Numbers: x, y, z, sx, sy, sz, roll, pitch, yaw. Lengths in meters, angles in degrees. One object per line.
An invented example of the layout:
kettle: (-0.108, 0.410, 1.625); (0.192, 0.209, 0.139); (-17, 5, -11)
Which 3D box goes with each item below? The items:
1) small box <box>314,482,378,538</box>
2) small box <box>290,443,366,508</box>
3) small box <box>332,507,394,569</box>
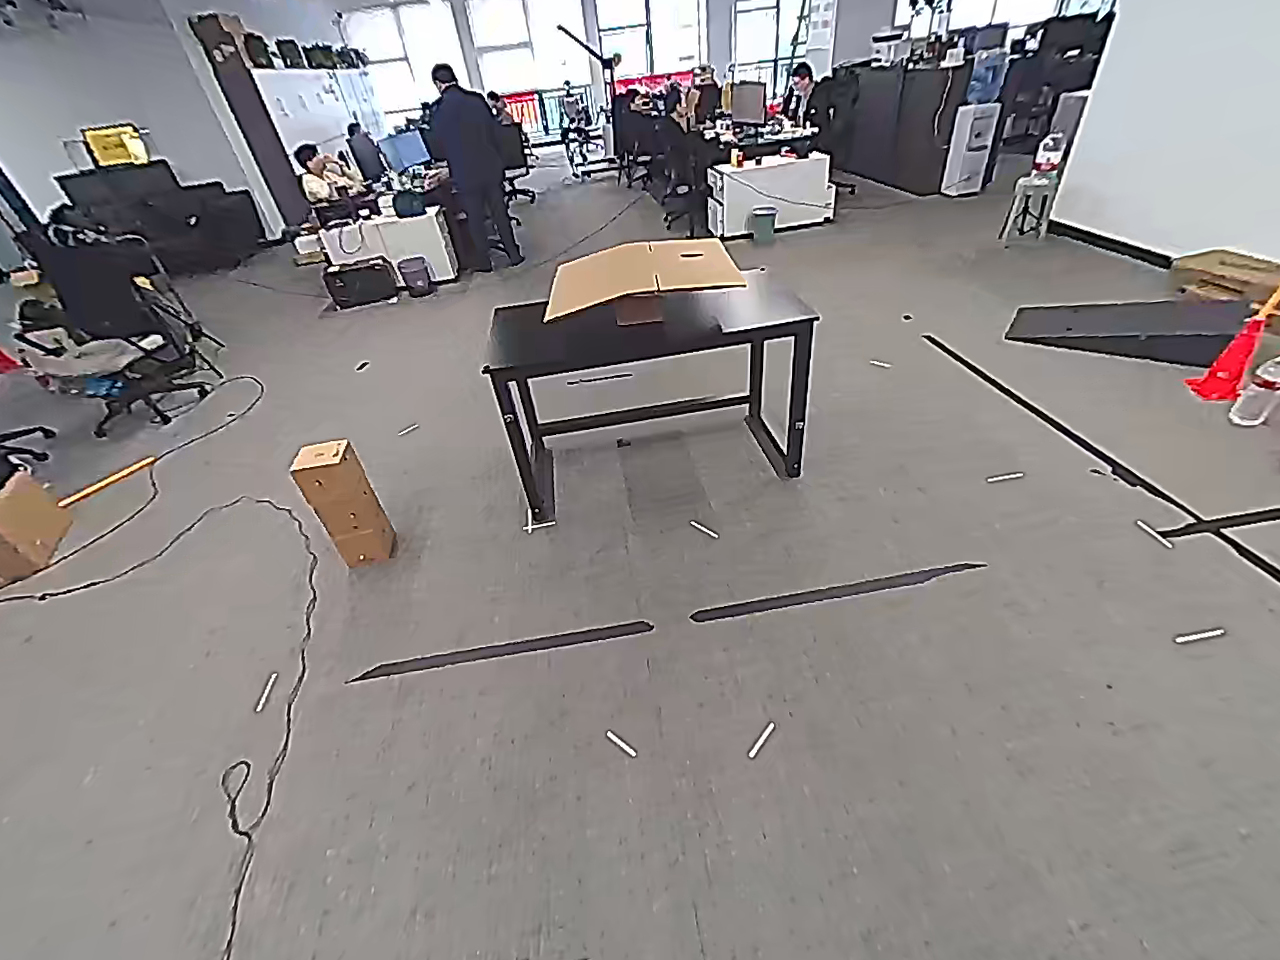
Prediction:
small box: (-1.166, 0.113, 2.158); (0.168, 0.176, 0.179); (-13, 37, -10)
small box: (-1.178, -0.015, 2.056); (0.179, 0.176, 0.168); (-12, 38, -6)
small box: (-1.145, 0.243, 2.253); (0.168, 0.176, 0.179); (-12, 39, -6)
